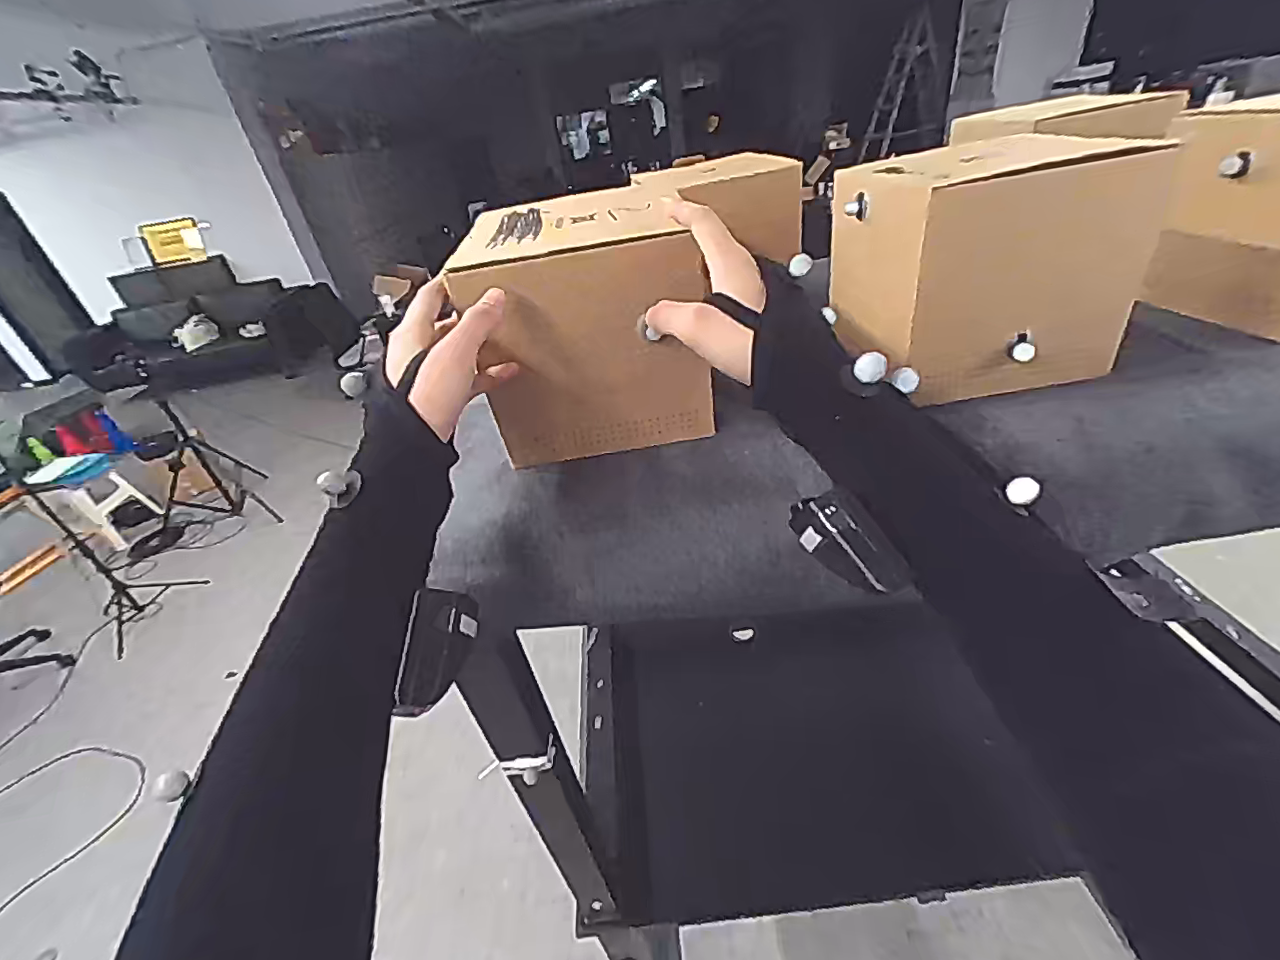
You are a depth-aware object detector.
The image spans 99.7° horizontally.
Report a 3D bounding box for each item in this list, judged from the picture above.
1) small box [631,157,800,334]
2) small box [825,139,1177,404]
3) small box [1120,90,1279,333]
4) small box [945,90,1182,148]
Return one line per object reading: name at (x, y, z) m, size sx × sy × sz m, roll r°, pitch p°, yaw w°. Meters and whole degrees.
small box at (0.092, -0.303, 0.695) m, size 0.168 × 0.176 × 0.179 m, roll -14°, pitch 34°, yaw -3°
small box at (0.275, -0.182, 0.466) m, size 0.179 × 0.176 × 0.168 m, roll -9°, pitch 33°, yaw 0°
small box at (0.580, -0.235, 0.463) m, size 0.168 × 0.176 × 0.179 m, roll -11°, pitch 32°, yaw 0°
small box at (0.518, -0.385, 0.702) m, size 0.179 × 0.176 × 0.168 m, roll -9°, pitch 34°, yaw 2°
